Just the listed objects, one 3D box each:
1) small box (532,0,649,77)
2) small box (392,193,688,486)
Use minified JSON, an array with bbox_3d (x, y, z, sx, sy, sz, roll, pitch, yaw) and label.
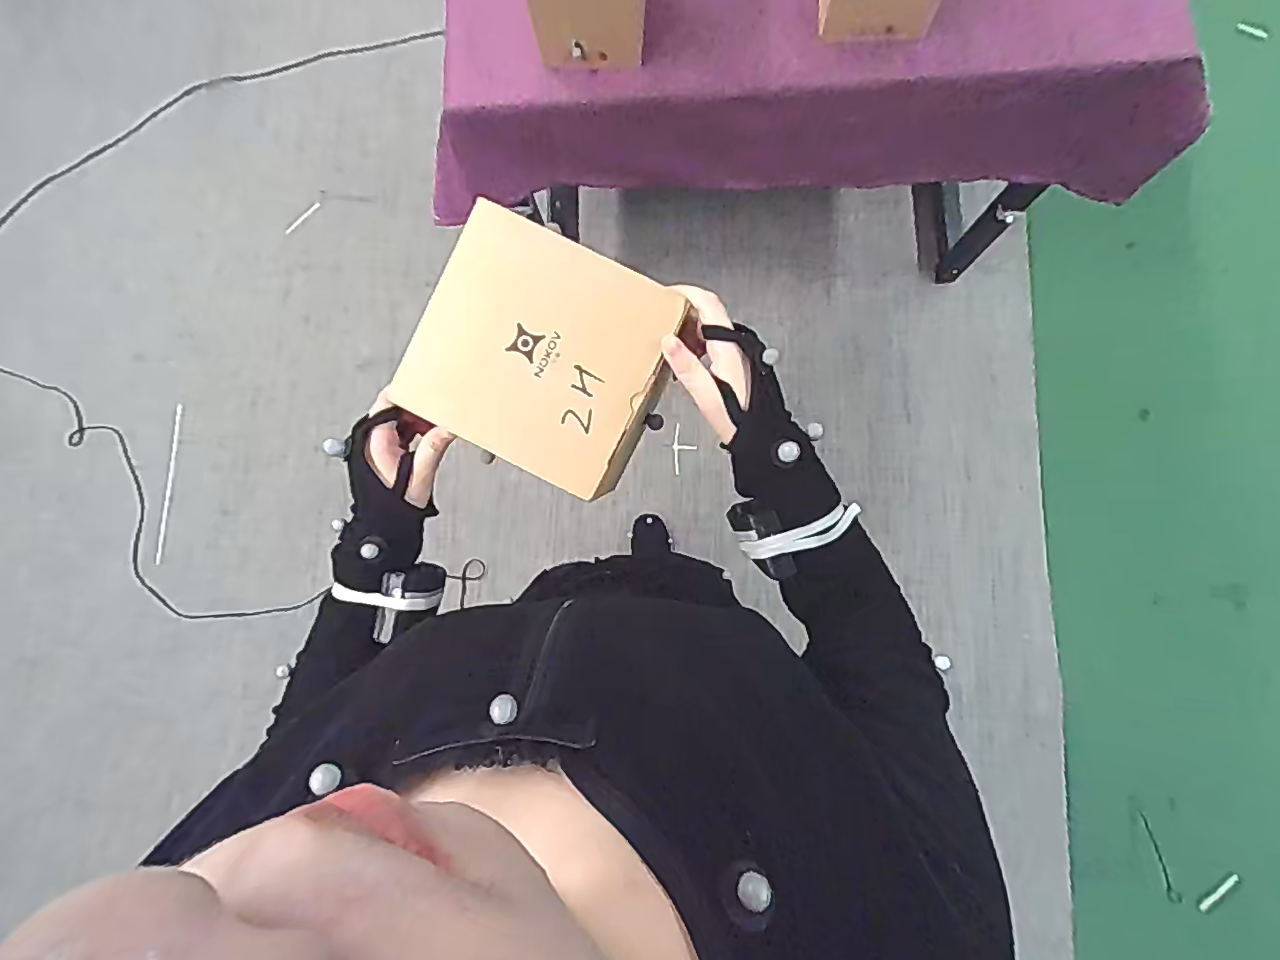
[{"bbox_3d":[-0.075,-0.779,0.843,0.168,0.176,0.179,4,82,5],"label":"small box"},{"bbox_3d":[-0.070,-0.106,0.476,0.179,0.176,0.168,26,95,3],"label":"small box"}]
